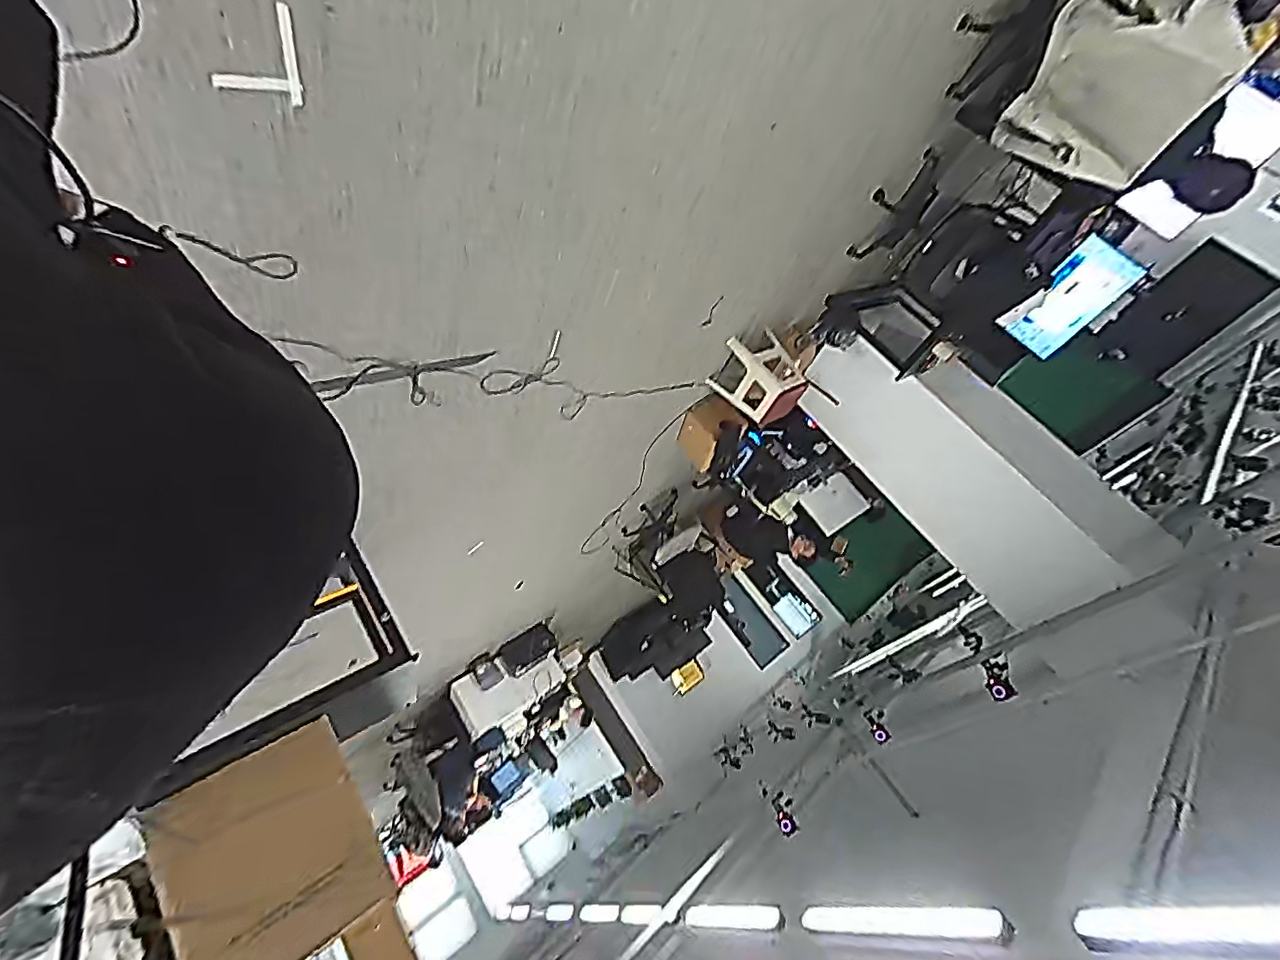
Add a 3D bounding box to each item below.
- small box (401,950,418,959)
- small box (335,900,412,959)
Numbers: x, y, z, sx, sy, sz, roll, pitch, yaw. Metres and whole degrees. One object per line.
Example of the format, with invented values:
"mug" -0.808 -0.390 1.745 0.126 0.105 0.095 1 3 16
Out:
"small box" -0.758 1.617 1.689 0.168 0.176 0.179 -25 156 -34
"small box" -0.857 1.498 1.745 0.168 0.176 0.179 -26 156 -32
